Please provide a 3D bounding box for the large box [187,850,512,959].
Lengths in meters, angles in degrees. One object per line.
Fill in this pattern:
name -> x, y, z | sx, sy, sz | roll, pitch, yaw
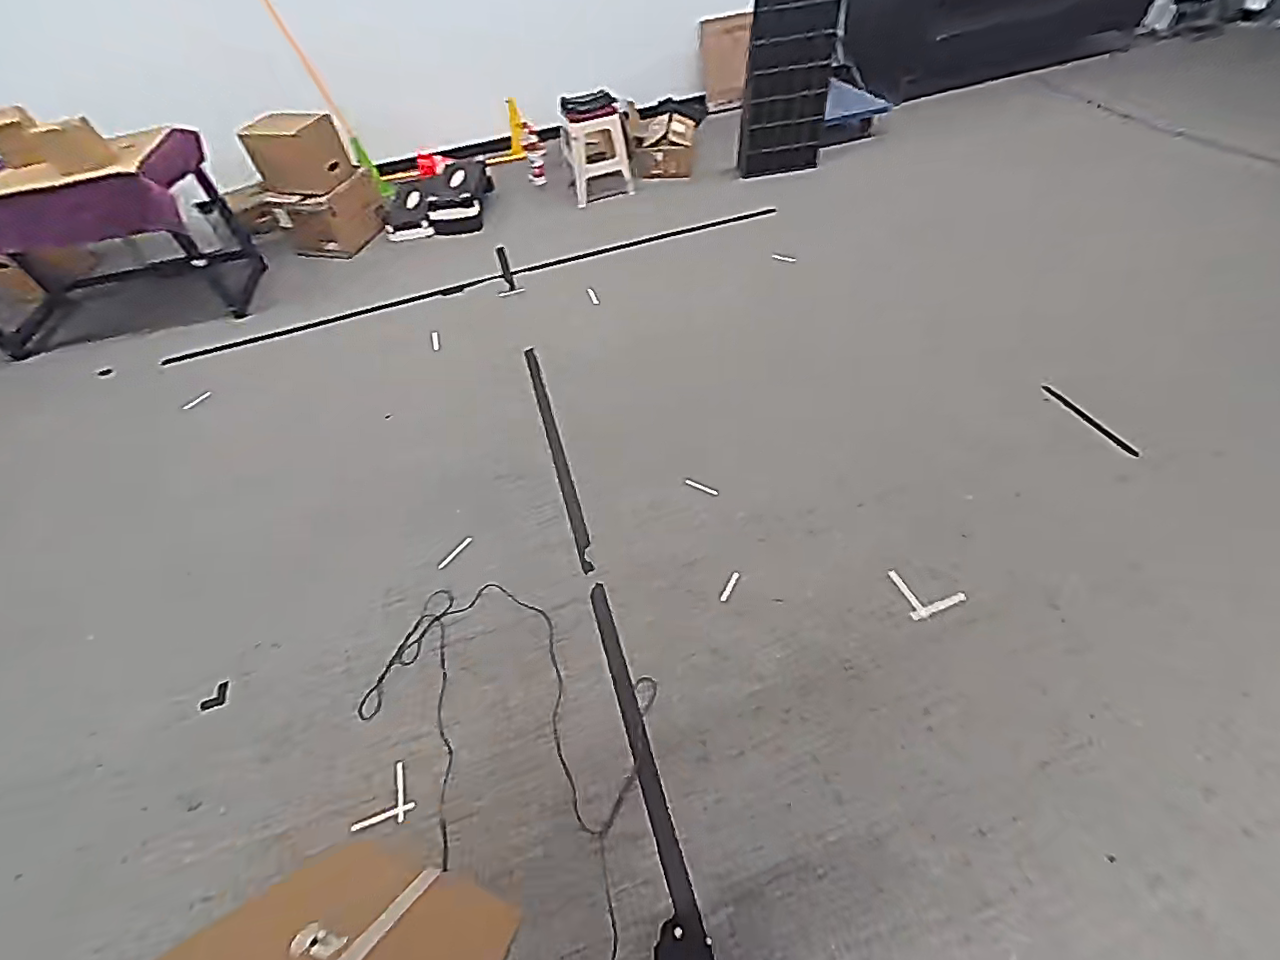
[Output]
large box -> -0.392, 0.733, 0.643 | 0.320, 0.408, 0.320 | 16, 74, 6
